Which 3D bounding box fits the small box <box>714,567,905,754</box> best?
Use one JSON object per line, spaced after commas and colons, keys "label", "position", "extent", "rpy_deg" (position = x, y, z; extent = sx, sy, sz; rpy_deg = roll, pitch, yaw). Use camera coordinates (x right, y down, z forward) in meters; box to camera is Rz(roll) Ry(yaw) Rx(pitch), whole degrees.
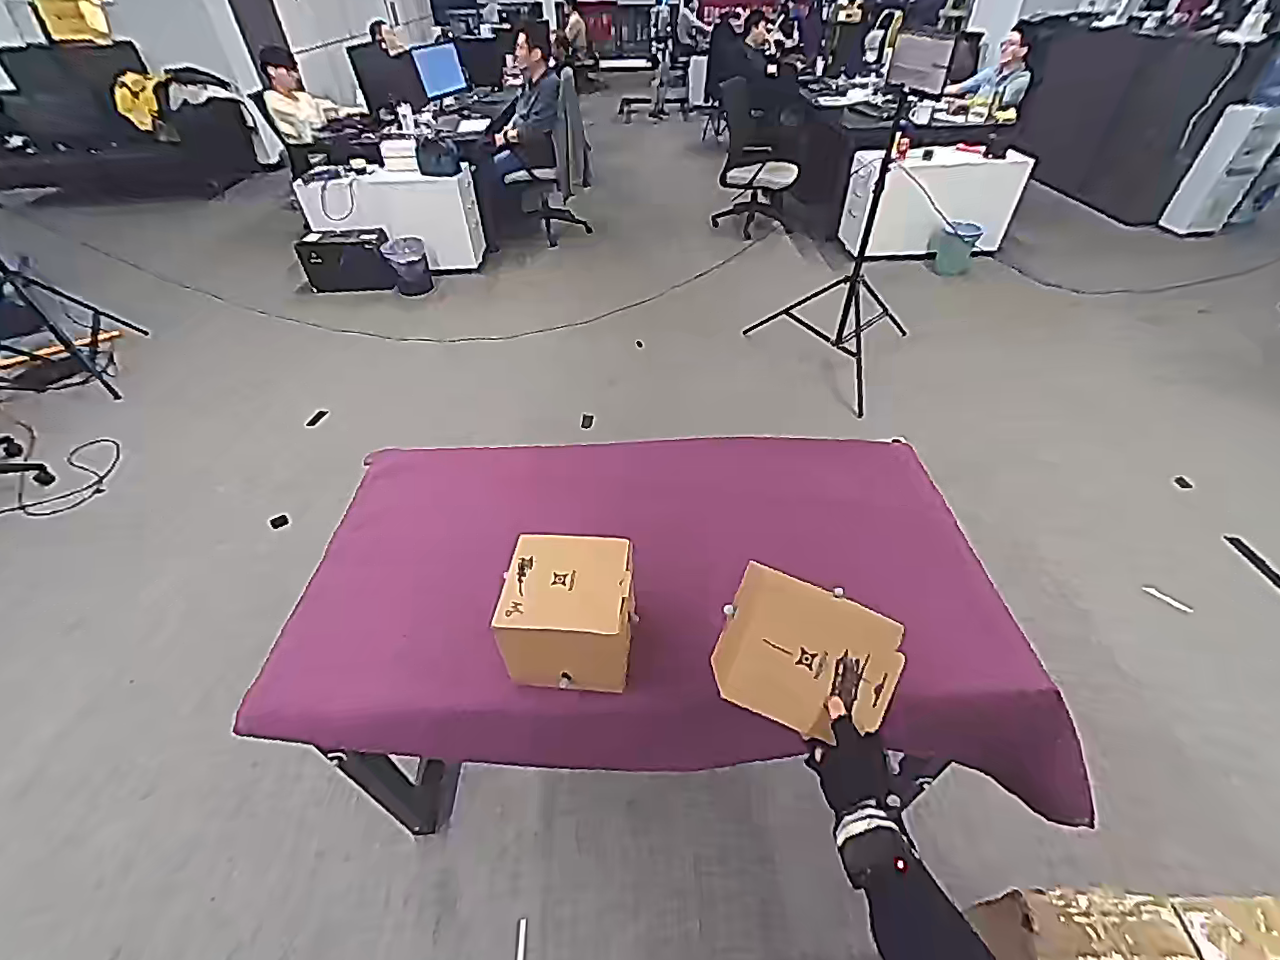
{"label": "small box", "position": [0.215, 0.227, 0.735], "extent": [0.179, 0.176, 0.168], "rpy_deg": [23, 87, 4]}

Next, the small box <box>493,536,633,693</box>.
{"label": "small box", "position": [-0.105, 0.208, 0.831], "extent": [0.179, 0.176, 0.168], "rpy_deg": [4, 42, 4]}
